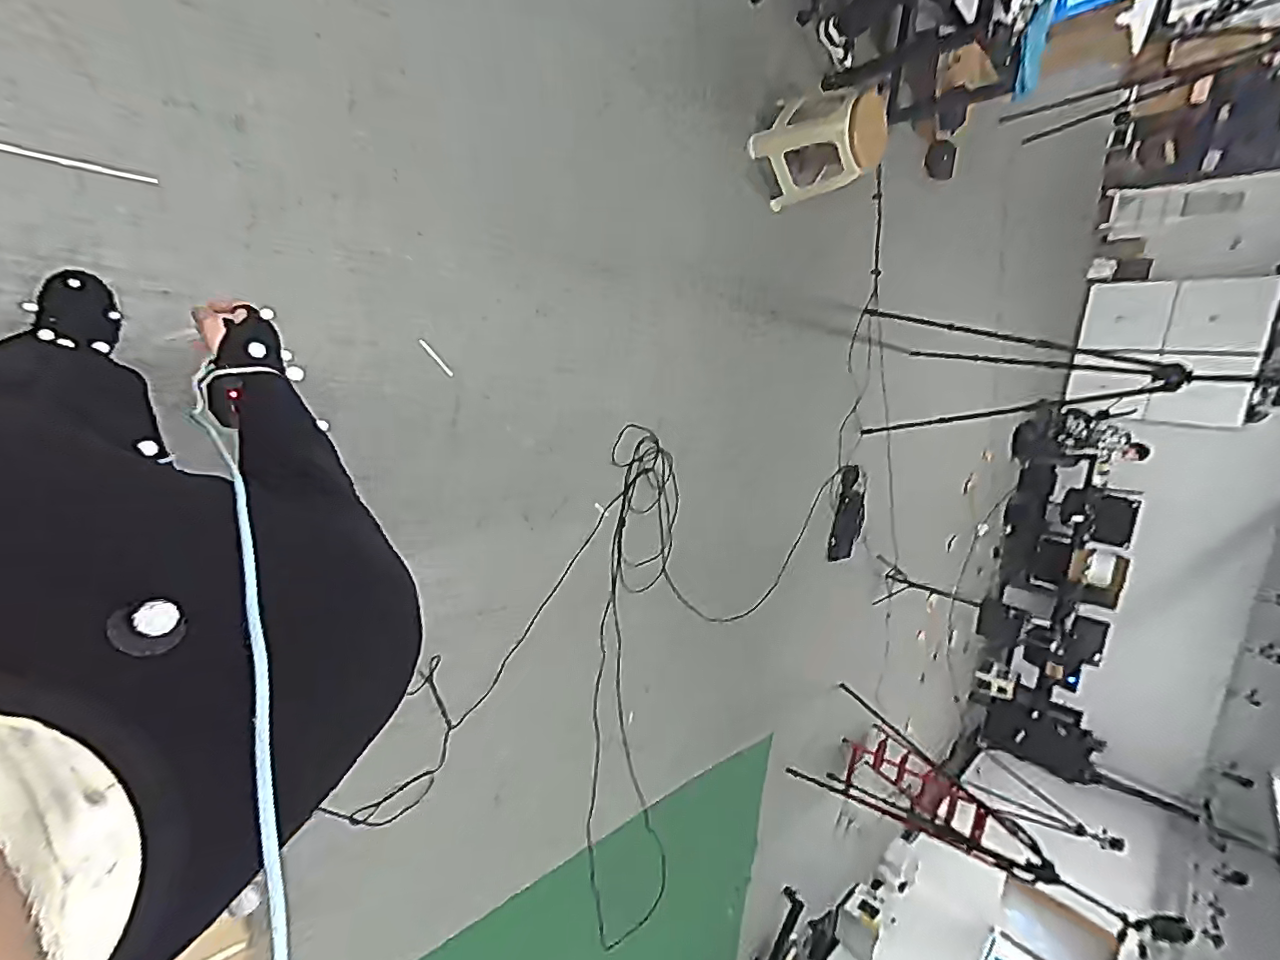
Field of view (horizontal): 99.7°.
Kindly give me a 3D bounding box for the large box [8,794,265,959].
[{"bbox_3d":[-1.174,1.060,1.296,0.408,0.320,0.320,-6,105,-42],"label":"large box"}]
